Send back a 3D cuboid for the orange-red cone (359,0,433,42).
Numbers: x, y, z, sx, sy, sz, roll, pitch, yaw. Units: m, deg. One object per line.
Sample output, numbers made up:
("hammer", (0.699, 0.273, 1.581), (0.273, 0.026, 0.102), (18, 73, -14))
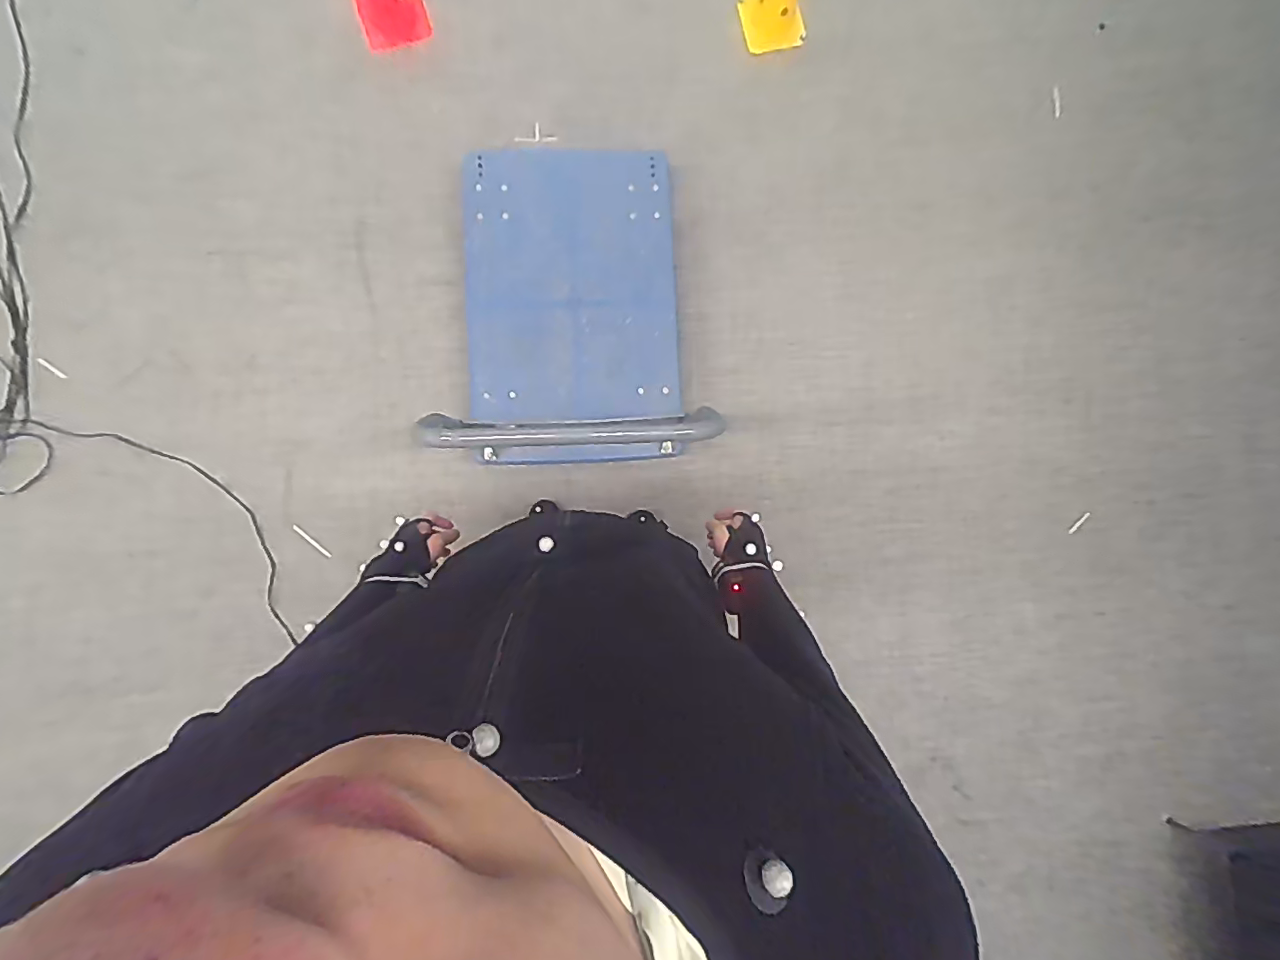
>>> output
("orange-red cone", (-0.737, -1.448, 1.474), (0.199, 0.360, 0.198), (-17, 89, -3))
